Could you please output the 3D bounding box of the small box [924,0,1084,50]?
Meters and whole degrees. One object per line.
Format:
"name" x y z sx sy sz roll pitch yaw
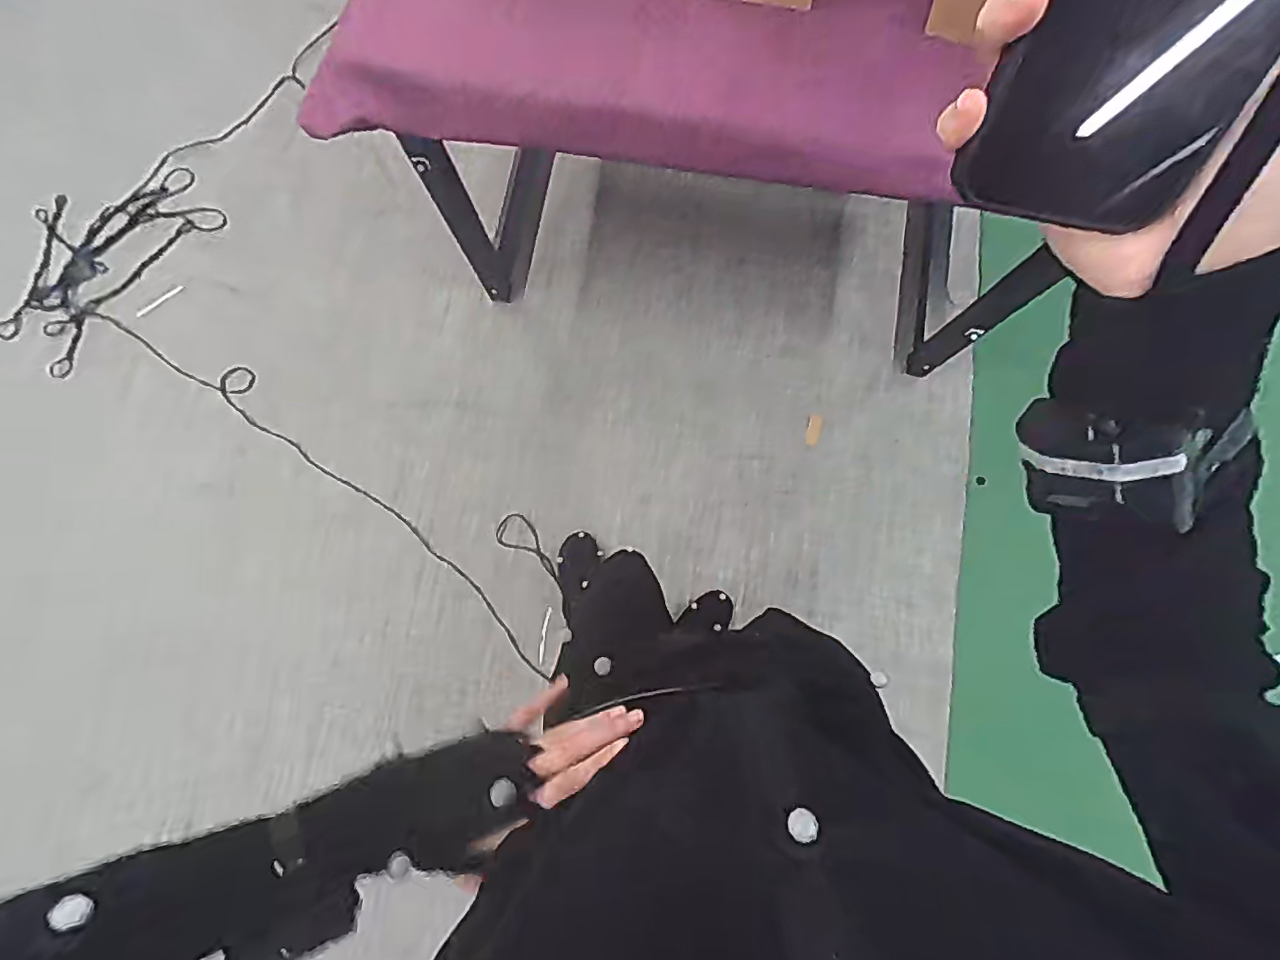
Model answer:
"small box" 0.497 -0.694 0.679 0.179 0.176 0.168 18 81 5
